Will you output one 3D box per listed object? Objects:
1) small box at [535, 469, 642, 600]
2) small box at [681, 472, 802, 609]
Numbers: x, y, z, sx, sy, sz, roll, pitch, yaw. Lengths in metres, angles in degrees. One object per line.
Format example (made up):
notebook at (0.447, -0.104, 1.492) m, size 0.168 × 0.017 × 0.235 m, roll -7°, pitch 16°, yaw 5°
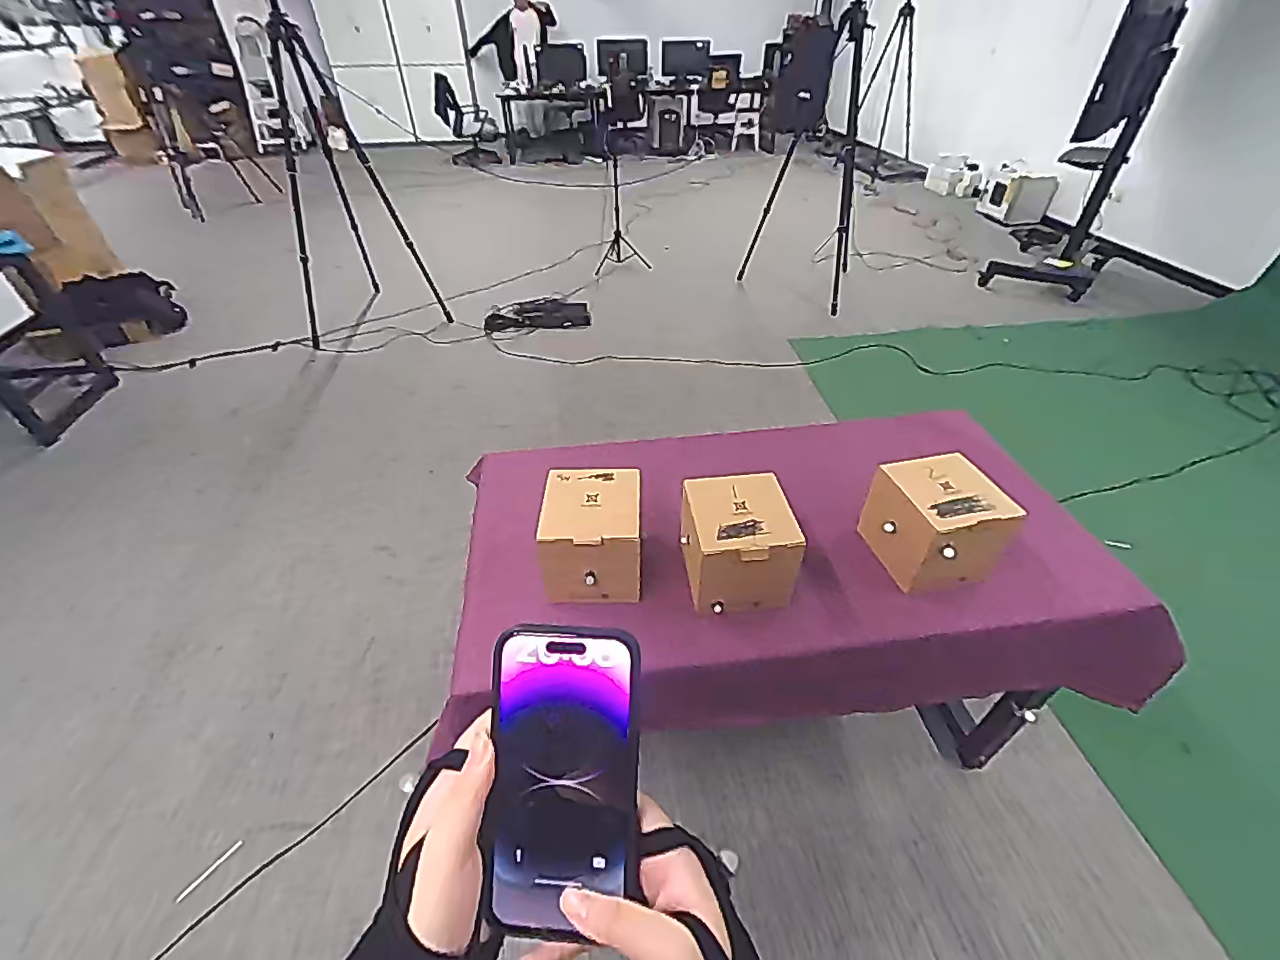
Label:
small box at (-0.082, 0.099, 0.966) m, size 0.168 × 0.176 × 0.179 m, roll 0°, pitch 41°, yaw 1°
small box at (0.167, 0.111, 0.946) m, size 0.168 × 0.176 × 0.179 m, roll -5°, pitch 40°, yaw -5°
